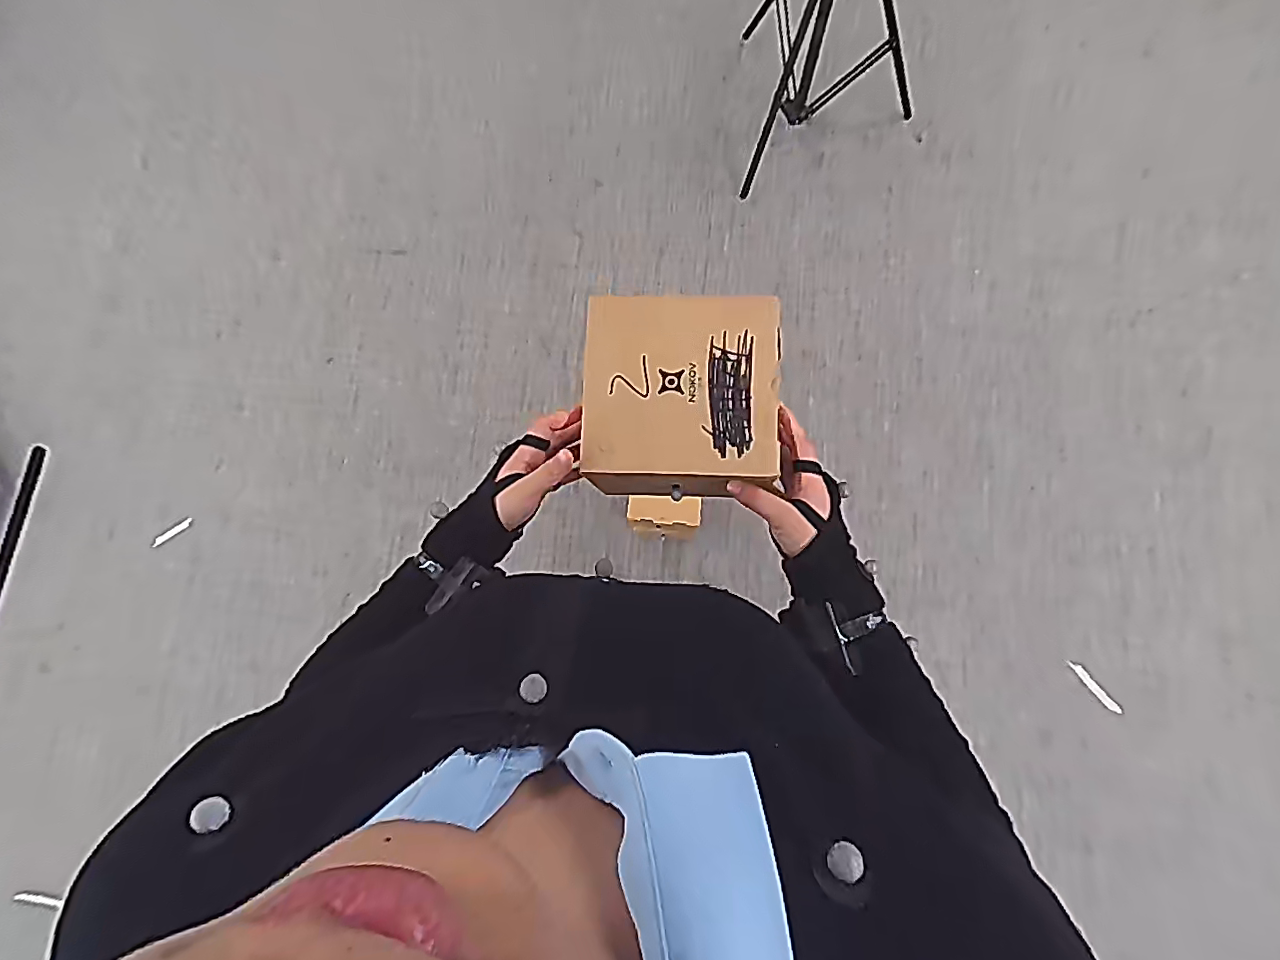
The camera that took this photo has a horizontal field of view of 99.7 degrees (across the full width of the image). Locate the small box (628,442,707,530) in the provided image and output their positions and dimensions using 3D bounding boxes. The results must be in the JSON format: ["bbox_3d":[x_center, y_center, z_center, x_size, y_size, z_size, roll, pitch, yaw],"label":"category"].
[{"bbox_3d":[0.068,0.019,1.295,0.168,0.176,0.179,5,81,5],"label":"small box"}]

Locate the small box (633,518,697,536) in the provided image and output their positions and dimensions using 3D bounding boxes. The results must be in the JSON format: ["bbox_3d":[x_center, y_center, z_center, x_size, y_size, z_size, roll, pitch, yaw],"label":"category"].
[{"bbox_3d":[0.075,0.057,1.453,0.168,0.176,0.179,3,79,4],"label":"small box"}]
